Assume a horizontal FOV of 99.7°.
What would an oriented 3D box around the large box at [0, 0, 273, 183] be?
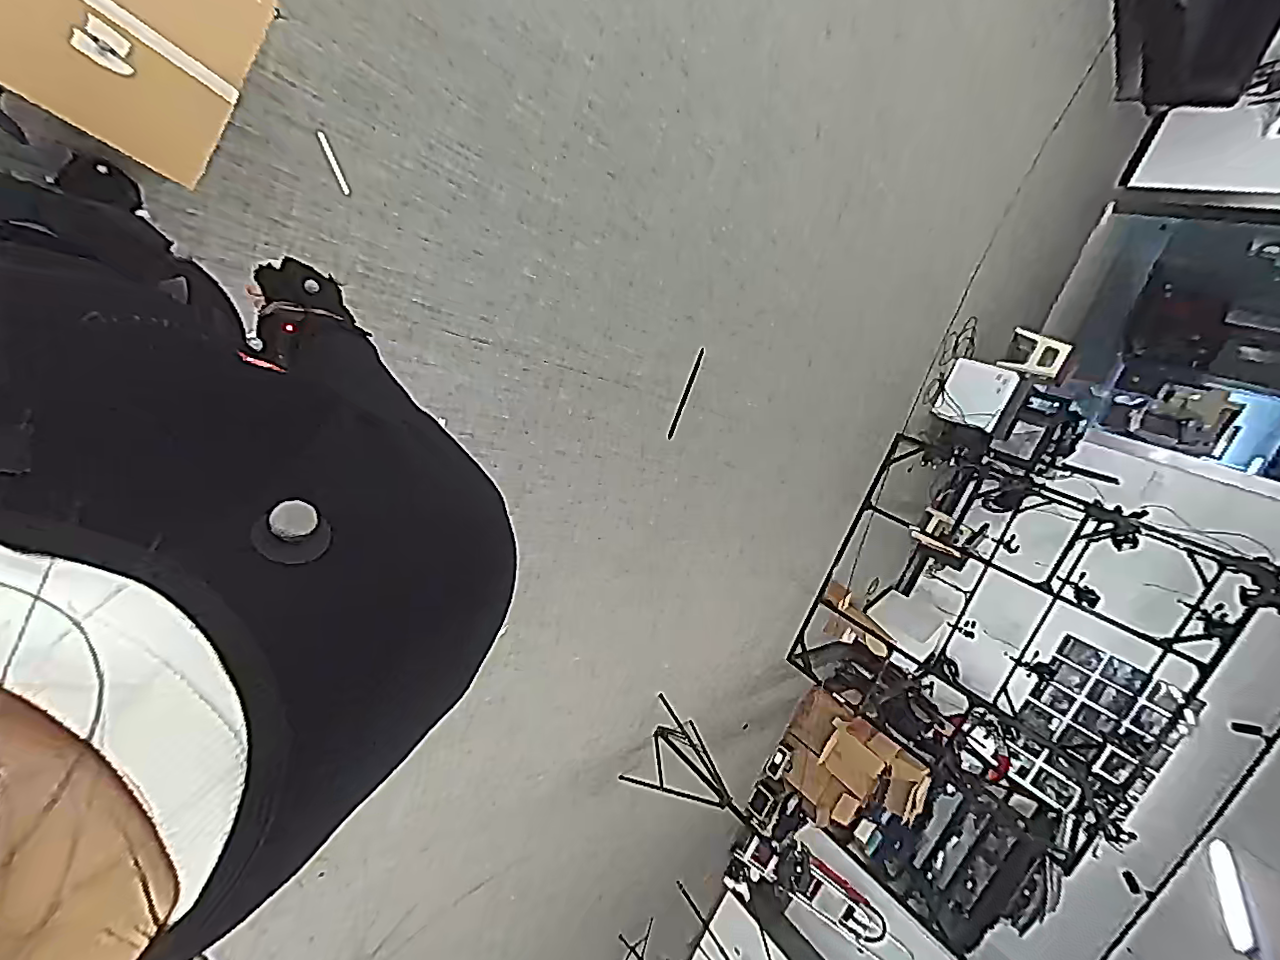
[{"bbox_3d":[-0.827,-0.688,0.744,0.408,0.320,0.320,25,96,-52],"label":"large box"}]
